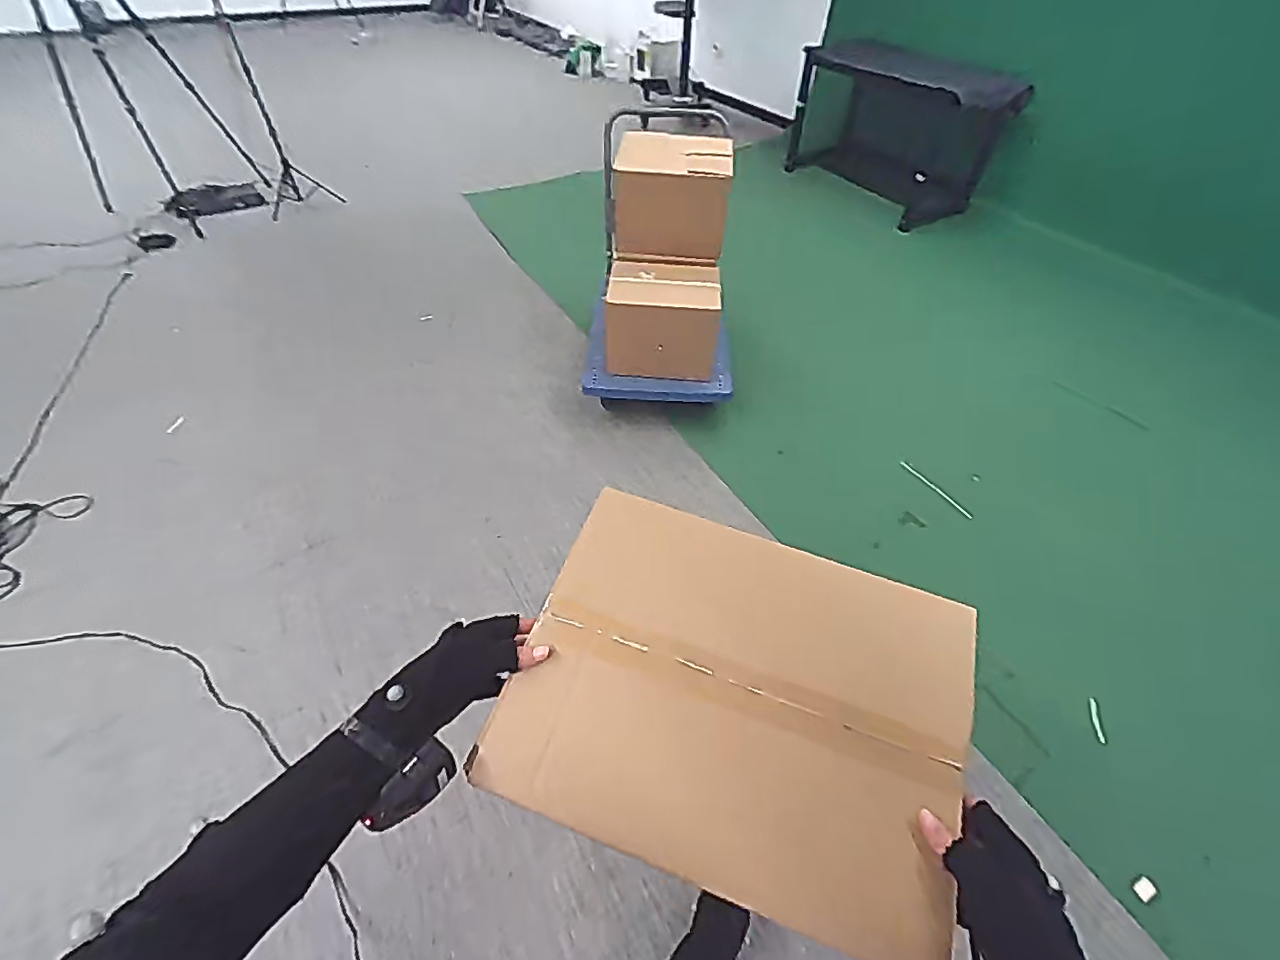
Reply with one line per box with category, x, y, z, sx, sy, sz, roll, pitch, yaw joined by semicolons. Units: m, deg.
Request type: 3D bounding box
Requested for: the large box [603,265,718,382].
large box;0.079;-0.596;2.060;0.408;0.320;0.320;4;47;3
